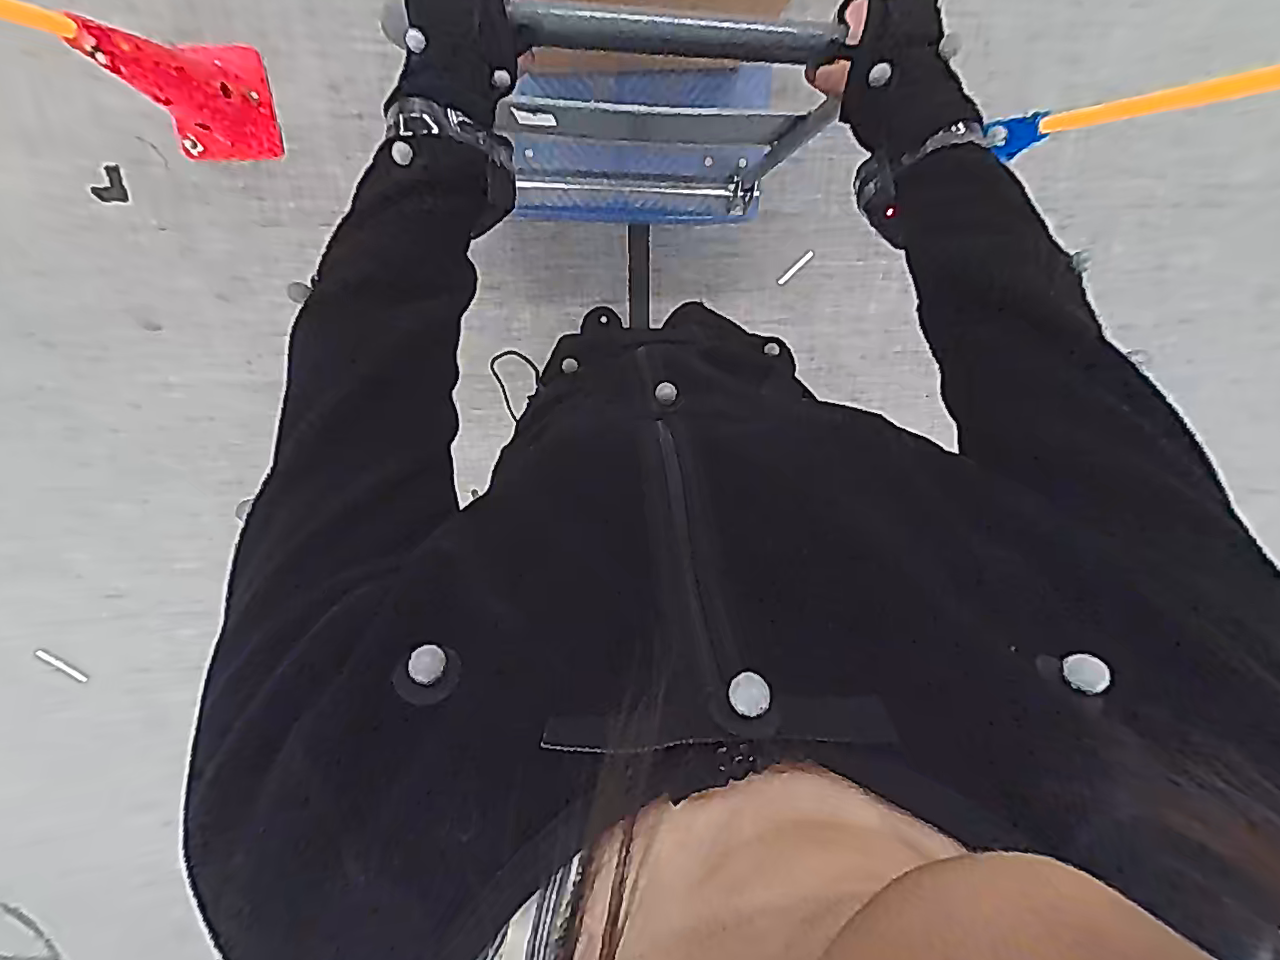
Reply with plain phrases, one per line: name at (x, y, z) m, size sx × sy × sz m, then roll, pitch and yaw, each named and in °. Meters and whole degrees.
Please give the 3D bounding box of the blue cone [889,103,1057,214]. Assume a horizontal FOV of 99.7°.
blue cone at (0.696, -0.688, 1.123) m, size 0.193 × 0.380 × 0.192 m, roll -7°, pitch 109°, yaw -4°
